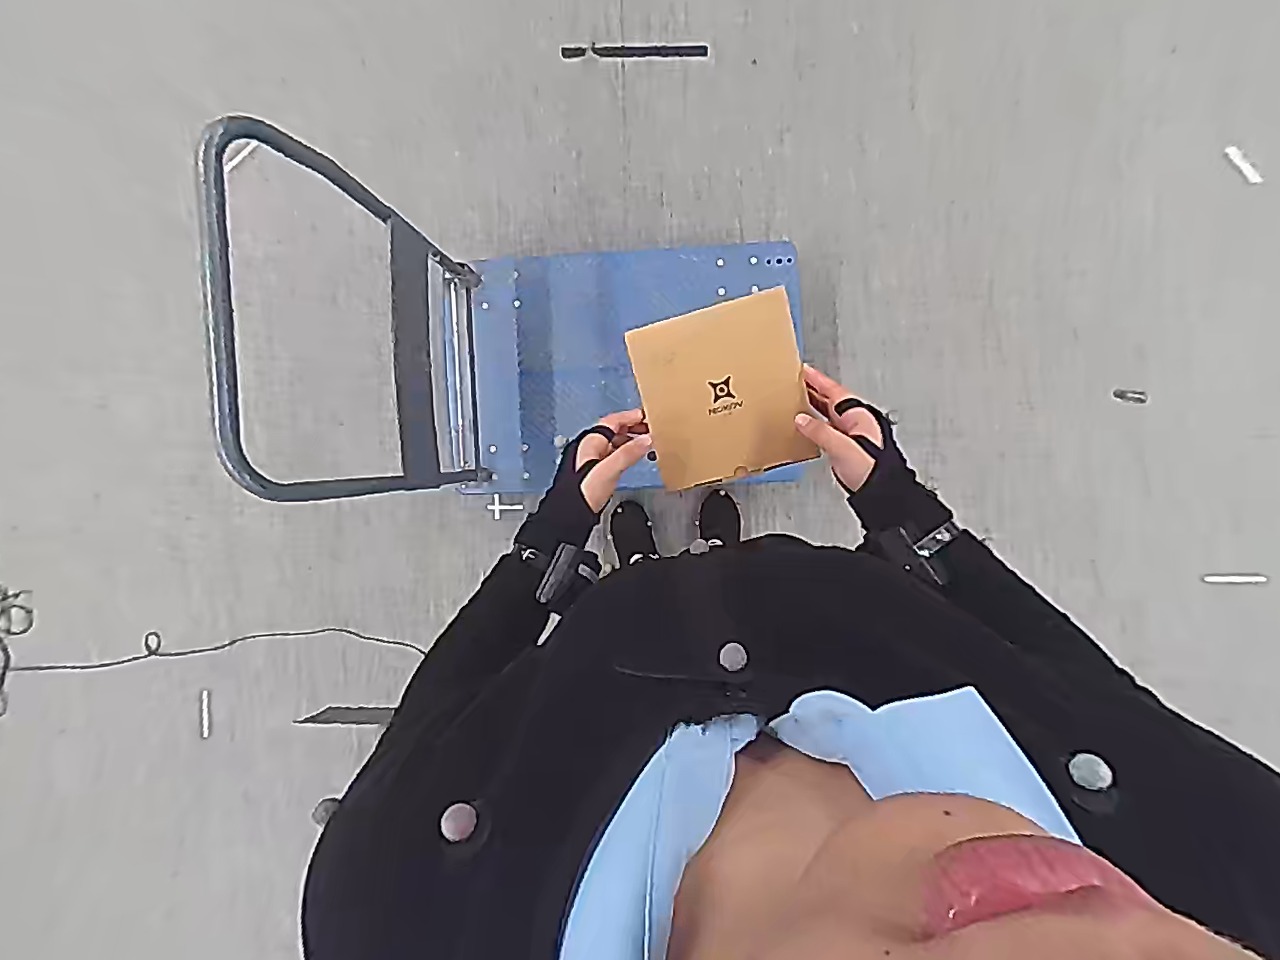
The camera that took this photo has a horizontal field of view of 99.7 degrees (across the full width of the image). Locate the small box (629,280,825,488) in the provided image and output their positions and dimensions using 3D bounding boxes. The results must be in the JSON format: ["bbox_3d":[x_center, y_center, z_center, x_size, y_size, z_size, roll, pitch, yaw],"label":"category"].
[{"bbox_3d":[0.094,-0.107,0.617,0.168,0.176,0.179,-14,101,10],"label":"small box"}]
